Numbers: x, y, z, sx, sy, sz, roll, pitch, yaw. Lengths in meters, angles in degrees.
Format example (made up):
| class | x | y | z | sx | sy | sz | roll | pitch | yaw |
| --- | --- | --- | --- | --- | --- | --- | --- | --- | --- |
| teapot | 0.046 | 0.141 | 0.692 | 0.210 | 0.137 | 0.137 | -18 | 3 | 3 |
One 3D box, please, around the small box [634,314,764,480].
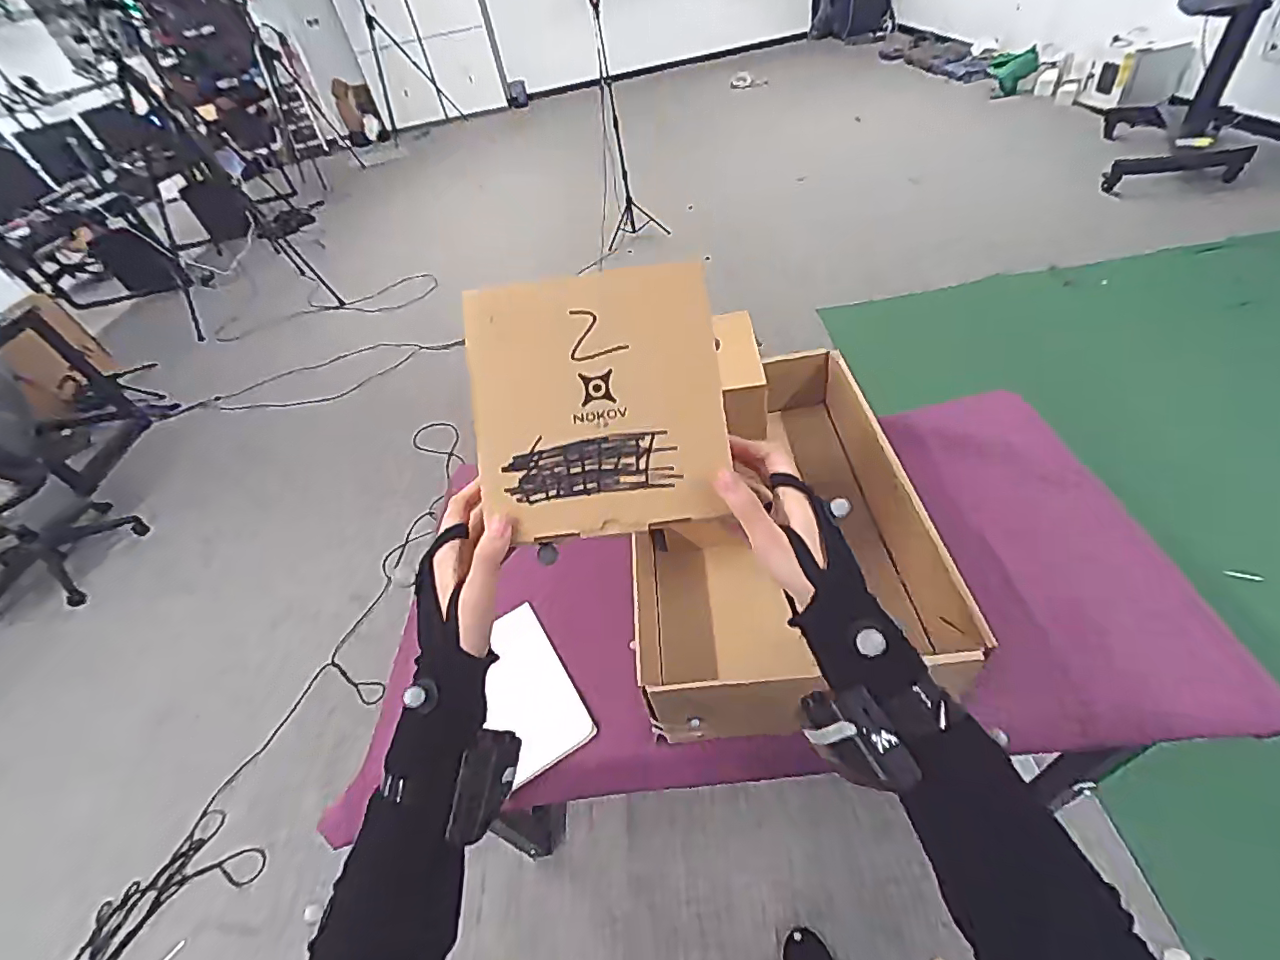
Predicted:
| class | x | y | z | sx | sy | sz | roll | pitch | yaw |
| --- | --- | --- | --- | --- | --- | --- | --- | --- | --- |
| small box | 0.087 | -0.113 | 0.793 | 0.168 | 0.176 | 0.179 | -7 | 46 | 7 |
